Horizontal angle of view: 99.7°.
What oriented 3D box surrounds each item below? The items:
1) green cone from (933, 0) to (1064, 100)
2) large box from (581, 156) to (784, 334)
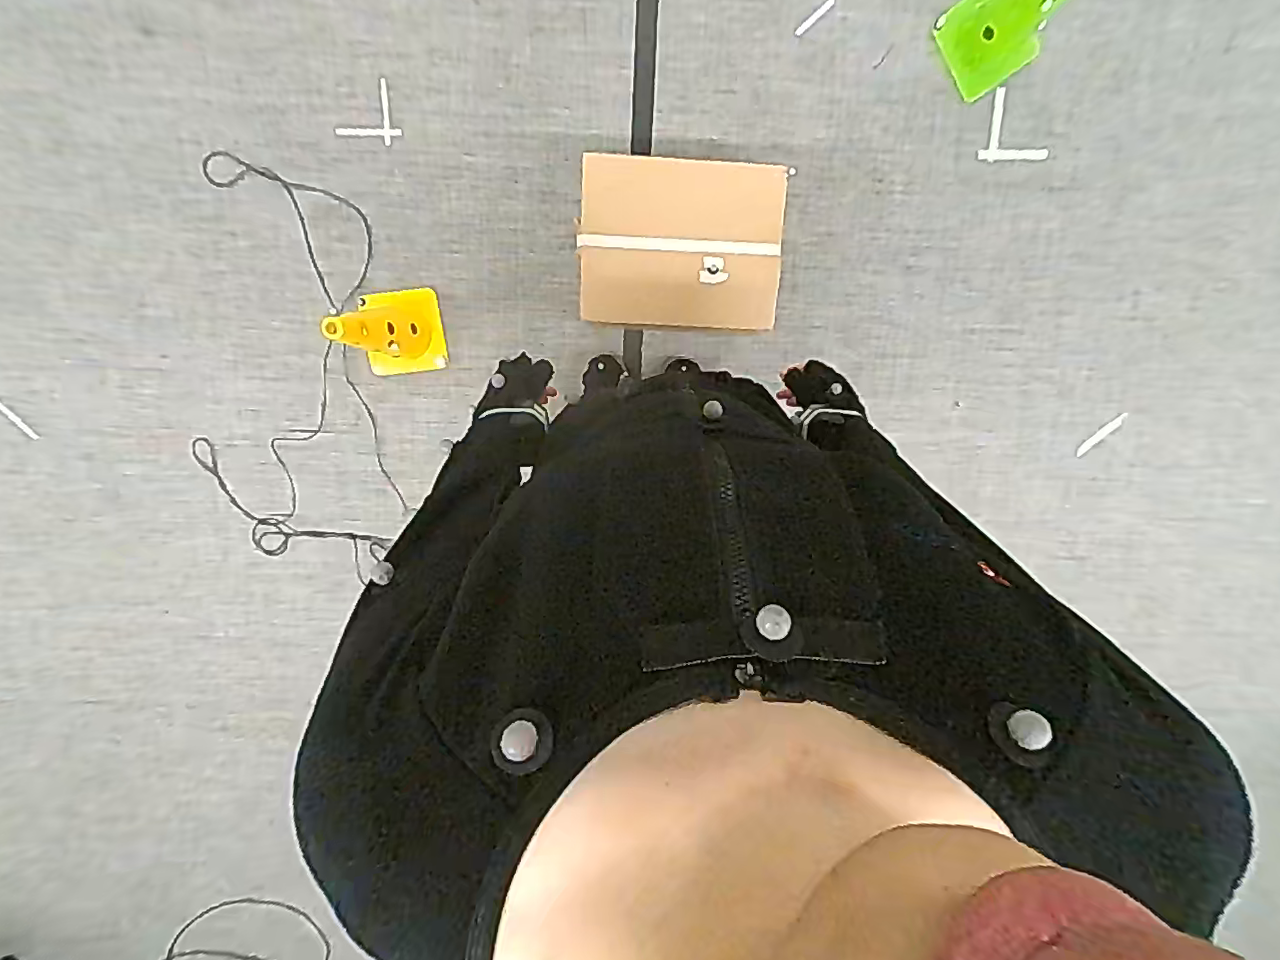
[{"bbox_3d":[0.814,-0.990,1.093,0.202,0.368,0.200,-36,103,5],"label":"green cone"},{"bbox_3d":[0.073,-0.503,1.229,0.408,0.320,0.320,2,103,-3],"label":"large box"}]
